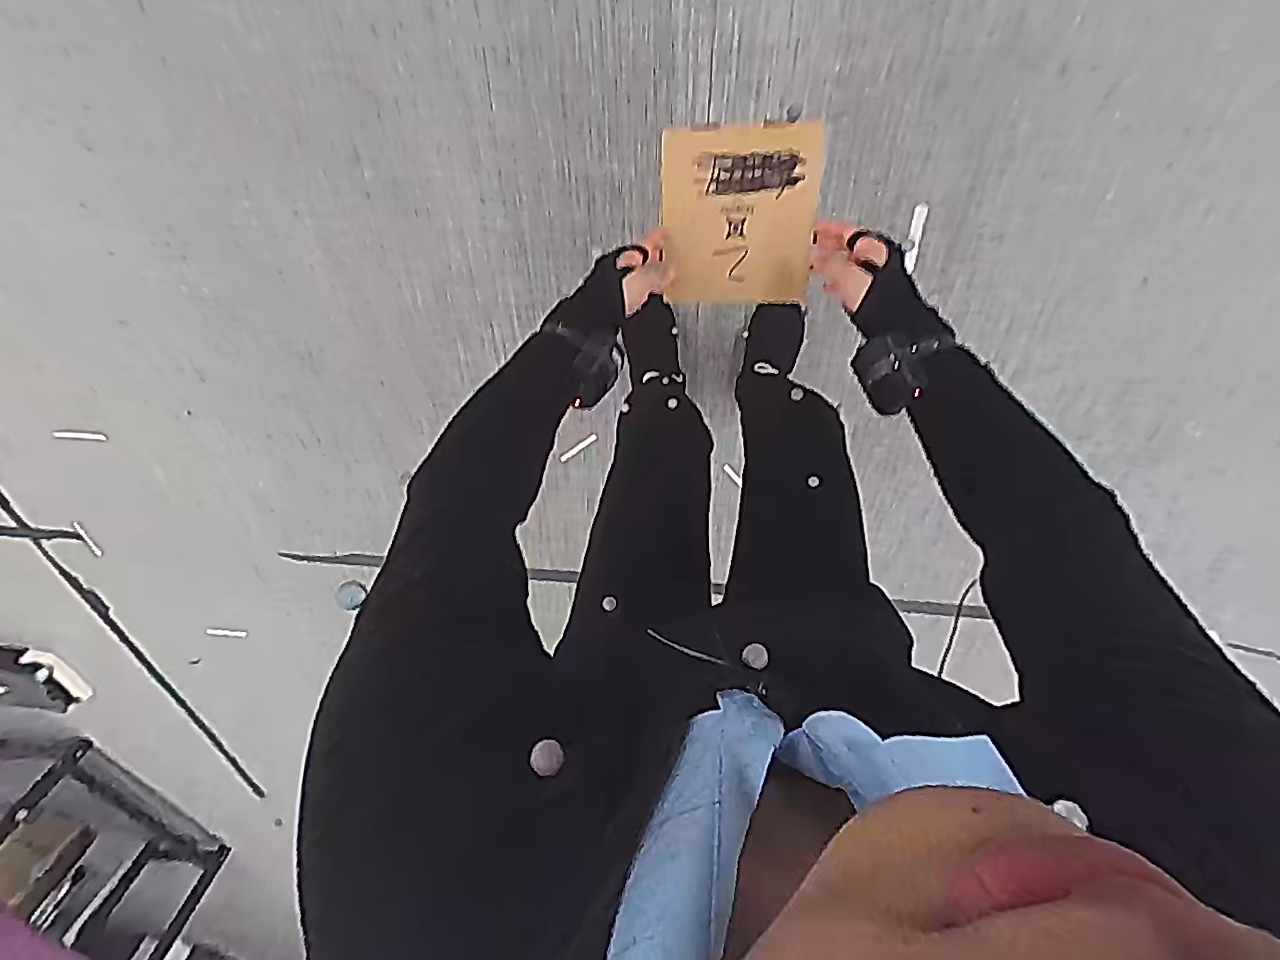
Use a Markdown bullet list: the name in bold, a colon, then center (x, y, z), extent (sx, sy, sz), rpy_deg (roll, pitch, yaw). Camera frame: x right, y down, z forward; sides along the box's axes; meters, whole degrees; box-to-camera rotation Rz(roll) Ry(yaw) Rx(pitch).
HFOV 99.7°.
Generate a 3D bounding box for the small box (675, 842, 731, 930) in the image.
- **small box**: center (0.198, 1.270, 1.692), extent (0.168, 0.176, 0.179), rpy_deg (0, 124, 7)

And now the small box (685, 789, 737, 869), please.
- **small box**: center (0.240, 1.177, 1.824), extent (0.168, 0.176, 0.179), rpy_deg (-1, 124, 8)
